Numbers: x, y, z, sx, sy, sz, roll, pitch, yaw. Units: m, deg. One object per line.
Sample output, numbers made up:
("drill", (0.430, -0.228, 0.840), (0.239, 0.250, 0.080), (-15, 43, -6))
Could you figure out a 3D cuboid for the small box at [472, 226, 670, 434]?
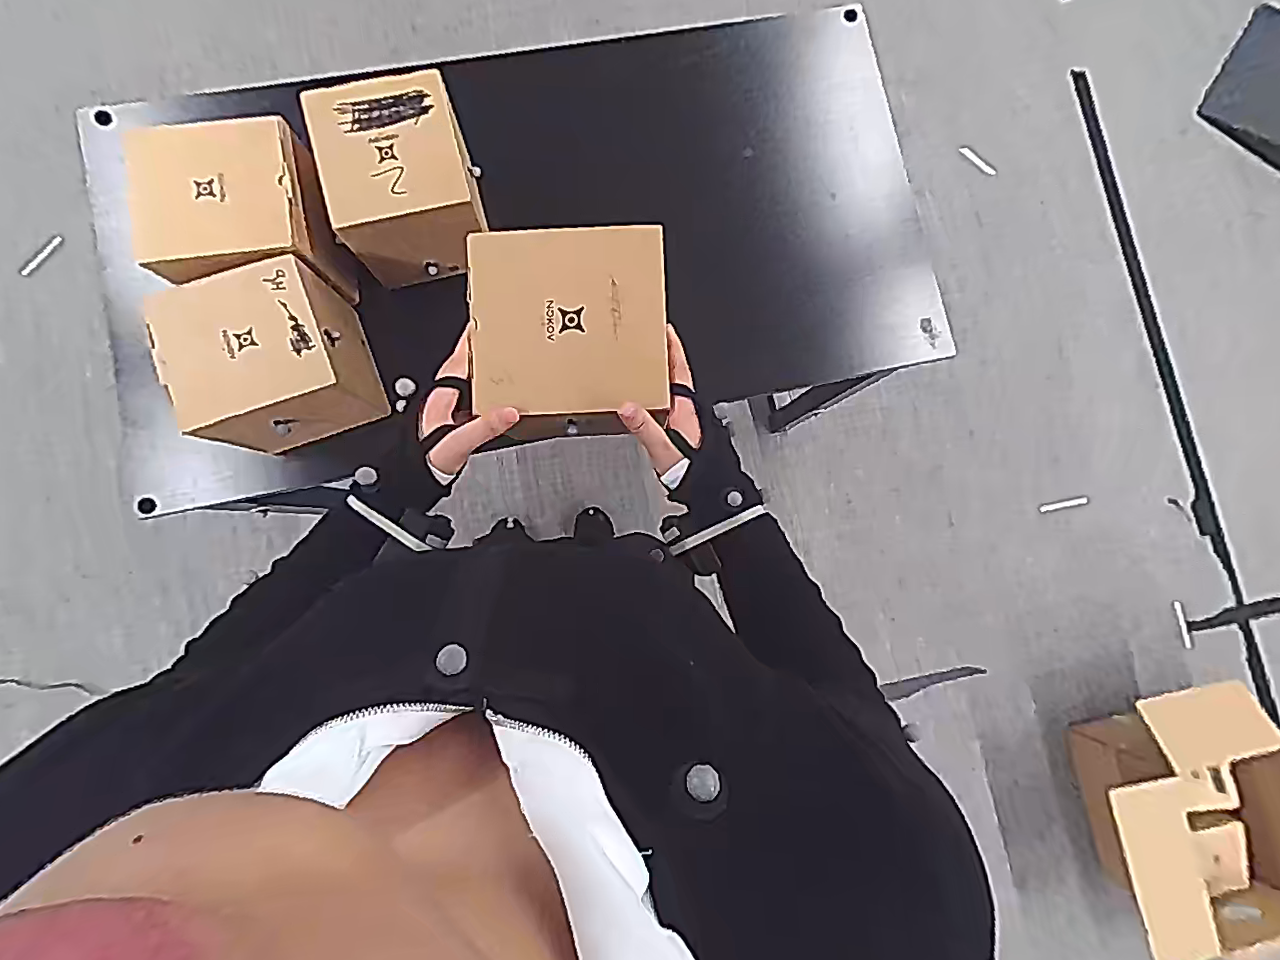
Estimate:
("small box", (-0.062, -0.141, 0.563), (0.179, 0.176, 0.168), (-3, 89, 0))
